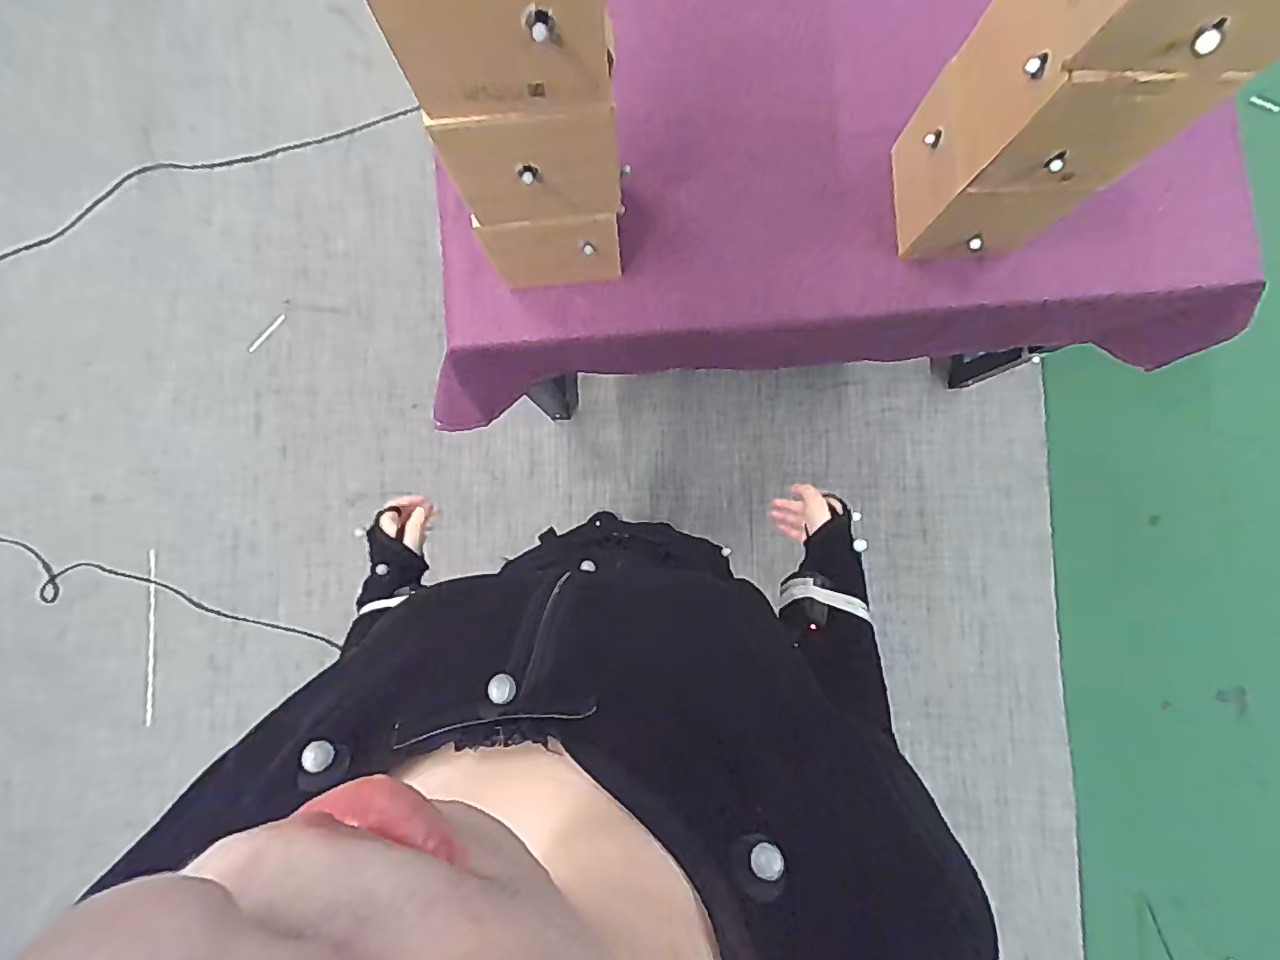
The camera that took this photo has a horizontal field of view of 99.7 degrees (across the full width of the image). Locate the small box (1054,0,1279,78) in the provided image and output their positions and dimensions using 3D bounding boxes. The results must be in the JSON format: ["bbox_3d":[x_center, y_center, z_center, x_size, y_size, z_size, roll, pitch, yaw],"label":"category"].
[{"bbox_3d":[0.456,-0.439,0.401,0.179,0.176,0.168,1,87,0],"label":"small box"}]

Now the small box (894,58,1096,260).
[{"bbox_3d":[0.460,-0.420,0.728,0.168,0.176,0.179,-1,87,1],"label":"small box"}]

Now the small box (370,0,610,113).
[{"bbox_3d":[-0.110,-0.413,0.409,0.168,0.176,0.179,-2,86,-1],"label":"small box"}]

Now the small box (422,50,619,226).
[{"bbox_3d":[-0.115,-0.394,0.571,0.179,0.176,0.168,-6,86,0],"label":"small box"}]

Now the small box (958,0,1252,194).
[{"bbox_3d":[0.461,-0.431,0.565,0.168,0.176,0.179,-1,87,1],"label":"small box"}]
